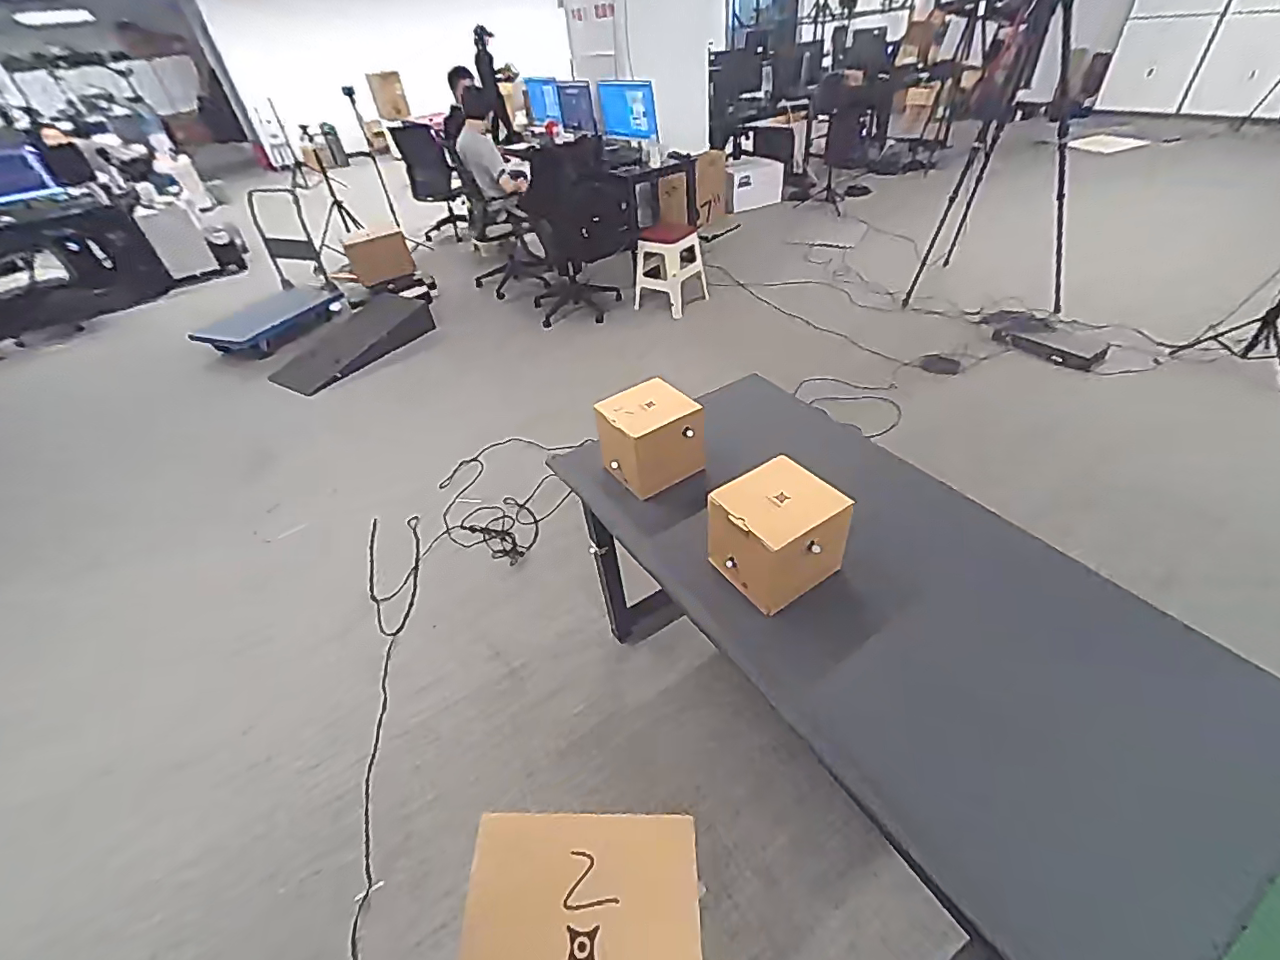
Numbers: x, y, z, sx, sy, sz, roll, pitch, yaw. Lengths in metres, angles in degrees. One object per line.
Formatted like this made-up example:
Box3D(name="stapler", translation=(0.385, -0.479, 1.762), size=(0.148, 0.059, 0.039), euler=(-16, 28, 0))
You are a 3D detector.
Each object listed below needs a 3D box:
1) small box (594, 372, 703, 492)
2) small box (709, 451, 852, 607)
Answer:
Box3D(name="small box", translation=(0.019, -0.106, 1.185), size=(0.179, 0.176, 0.168), euler=(-27, 45, -22))
Box3D(name="small box", translation=(0.234, 0.085, 0.945), size=(0.179, 0.176, 0.168), euler=(-26, 45, -21))
